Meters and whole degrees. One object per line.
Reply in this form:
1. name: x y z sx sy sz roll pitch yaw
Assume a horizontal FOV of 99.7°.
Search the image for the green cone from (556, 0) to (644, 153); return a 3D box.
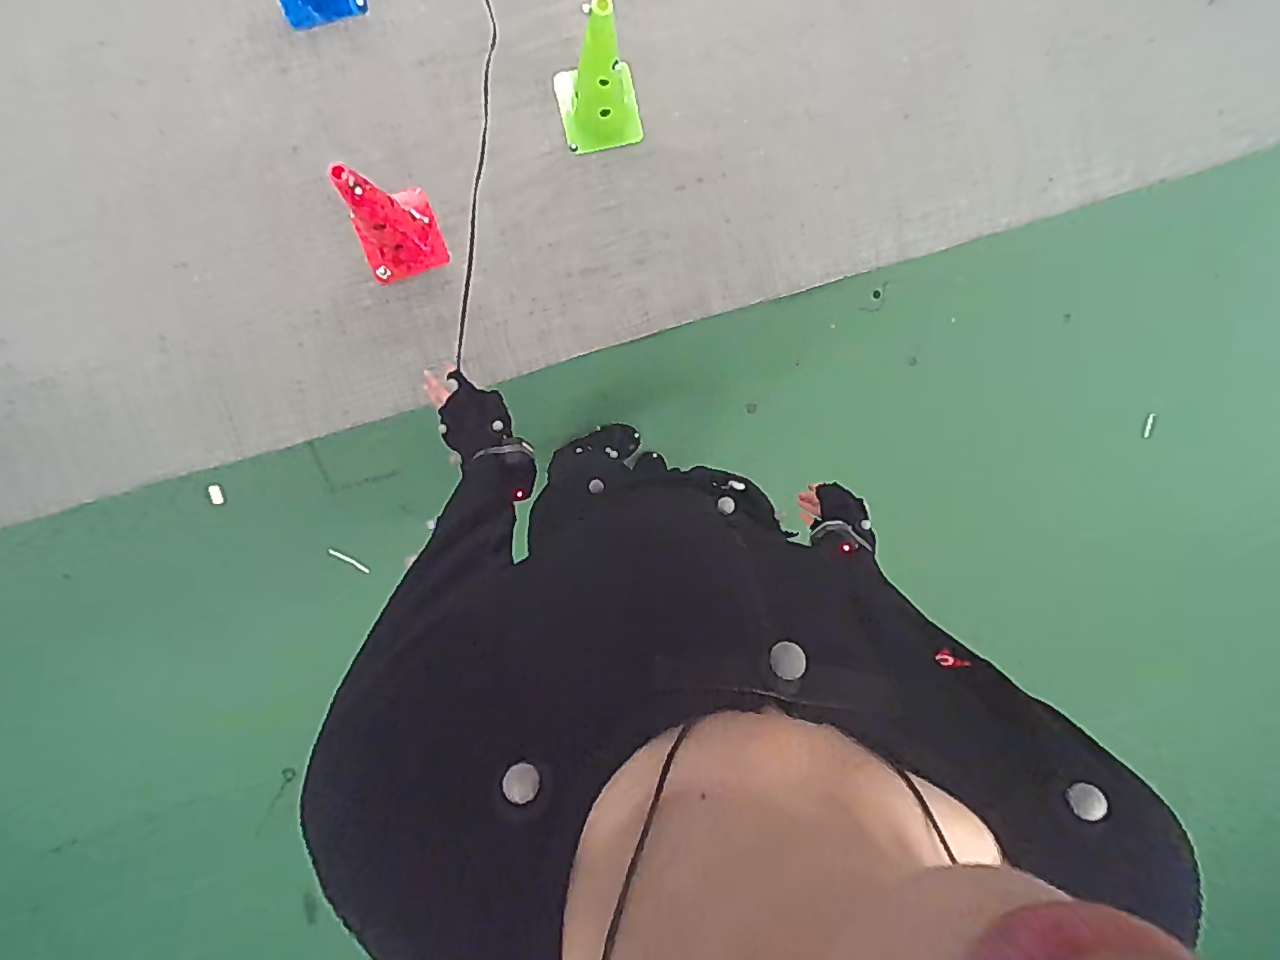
1. green cone: -0.086 -0.950 1.230 0.200 0.368 0.202 -15 96 -4
